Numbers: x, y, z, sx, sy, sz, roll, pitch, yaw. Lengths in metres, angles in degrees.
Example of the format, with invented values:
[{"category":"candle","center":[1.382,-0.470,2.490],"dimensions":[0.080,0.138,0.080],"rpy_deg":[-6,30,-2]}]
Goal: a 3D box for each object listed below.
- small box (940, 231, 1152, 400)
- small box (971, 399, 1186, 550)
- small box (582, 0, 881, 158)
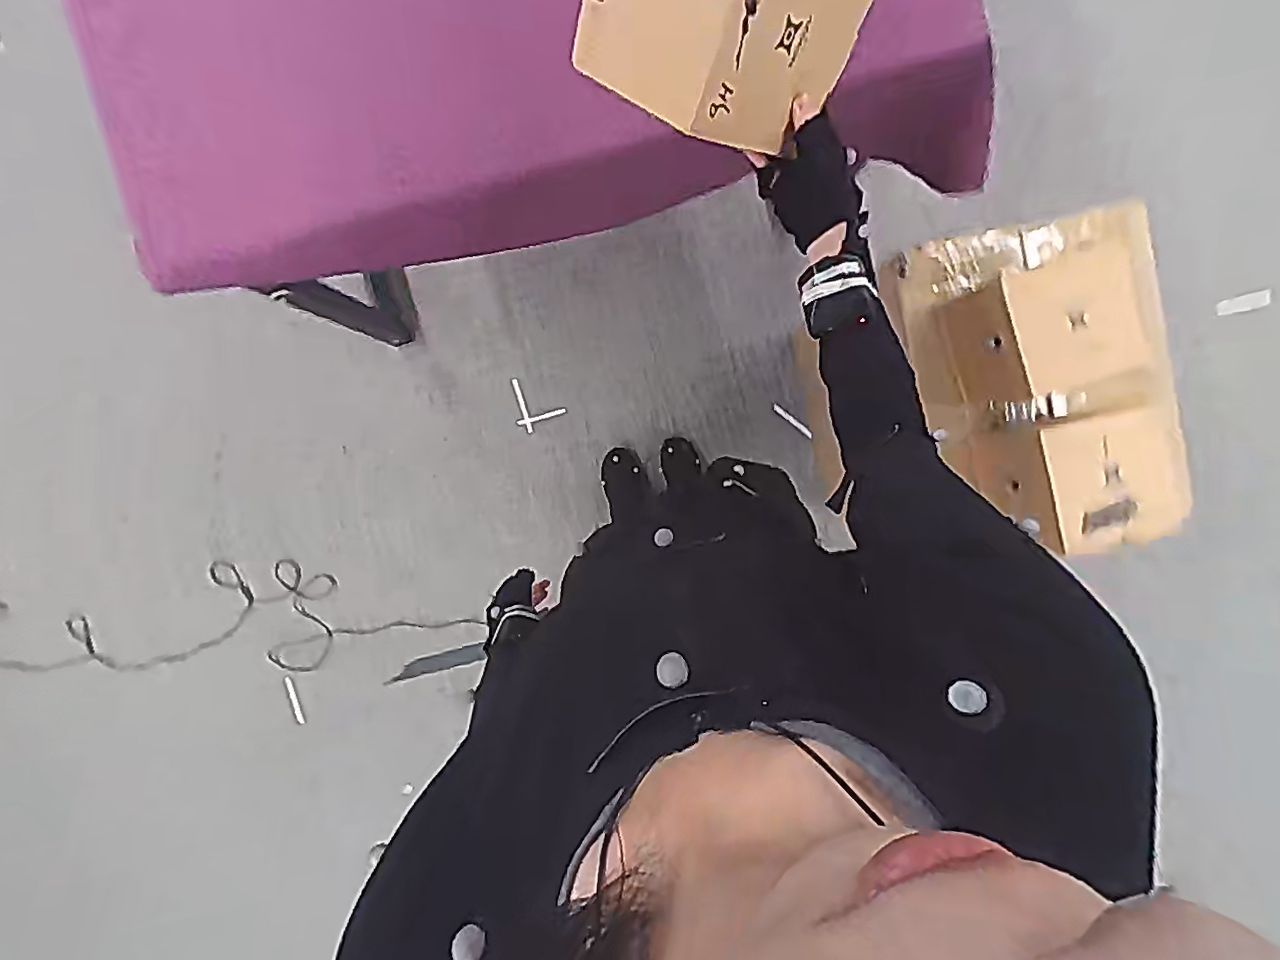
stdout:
[{"category":"small box","center":[0.577,-0.227,0.794],"dimensions":[0.168,0.176,0.179],"rpy_deg":[-19,94,3]},{"category":"small box","center":[0.635,-0.010,0.805],"dimensions":[0.168,0.176,0.179],"rpy_deg":[-14,91,1]},{"category":"small box","center":[0.081,-0.410,0.468],"dimensions":[0.176,0.179,0.168],"rpy_deg":[46,134,24]}]
